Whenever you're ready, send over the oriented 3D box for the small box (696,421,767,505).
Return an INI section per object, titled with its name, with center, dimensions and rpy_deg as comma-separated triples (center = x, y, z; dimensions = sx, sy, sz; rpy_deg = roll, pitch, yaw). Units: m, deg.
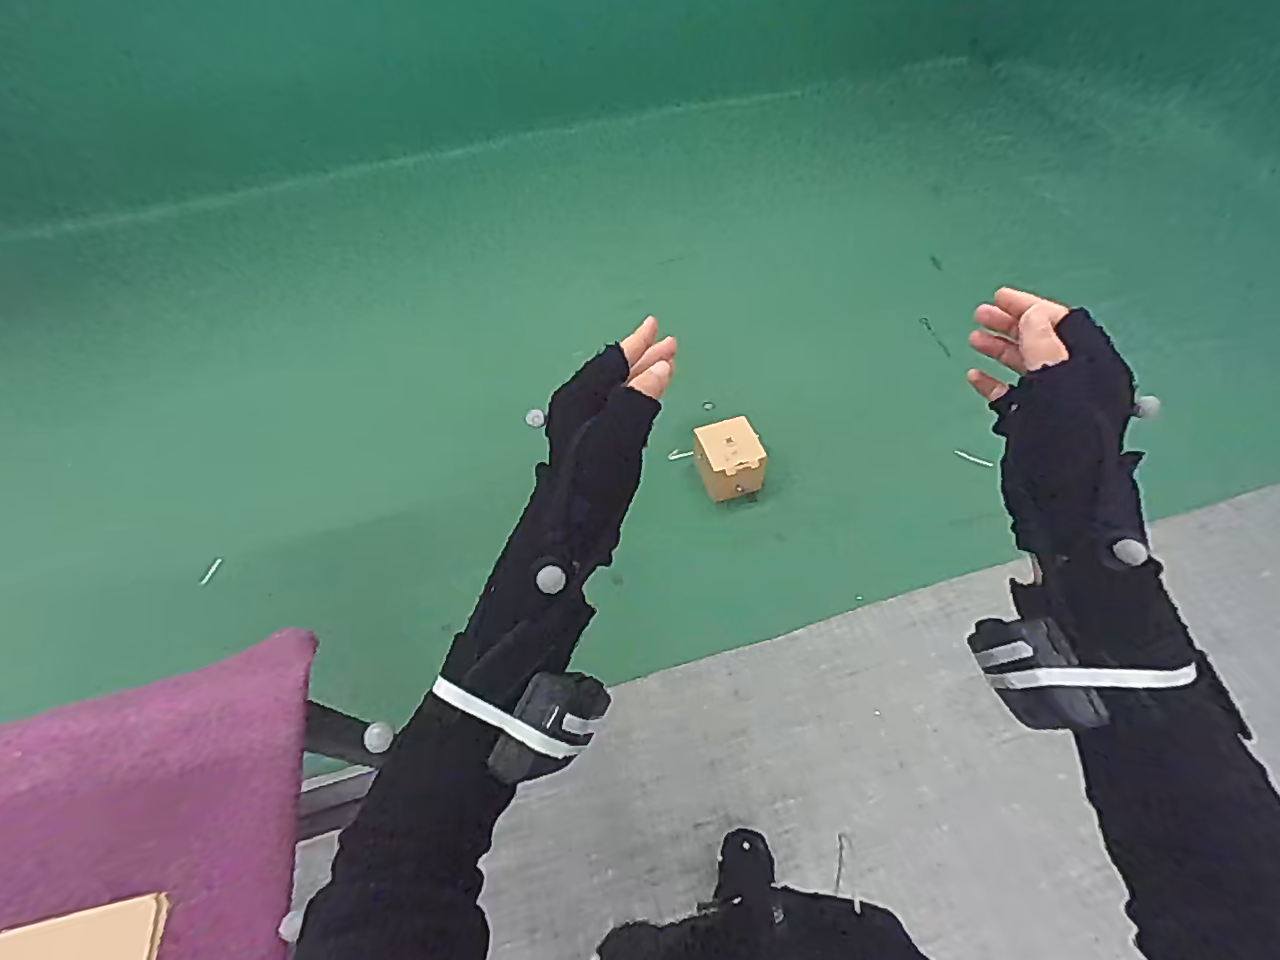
[small box]
center = 0.276, -0.051, 1.678
dimensions = 0.168, 0.176, 0.179
rpy_deg = -16, 55, -6
